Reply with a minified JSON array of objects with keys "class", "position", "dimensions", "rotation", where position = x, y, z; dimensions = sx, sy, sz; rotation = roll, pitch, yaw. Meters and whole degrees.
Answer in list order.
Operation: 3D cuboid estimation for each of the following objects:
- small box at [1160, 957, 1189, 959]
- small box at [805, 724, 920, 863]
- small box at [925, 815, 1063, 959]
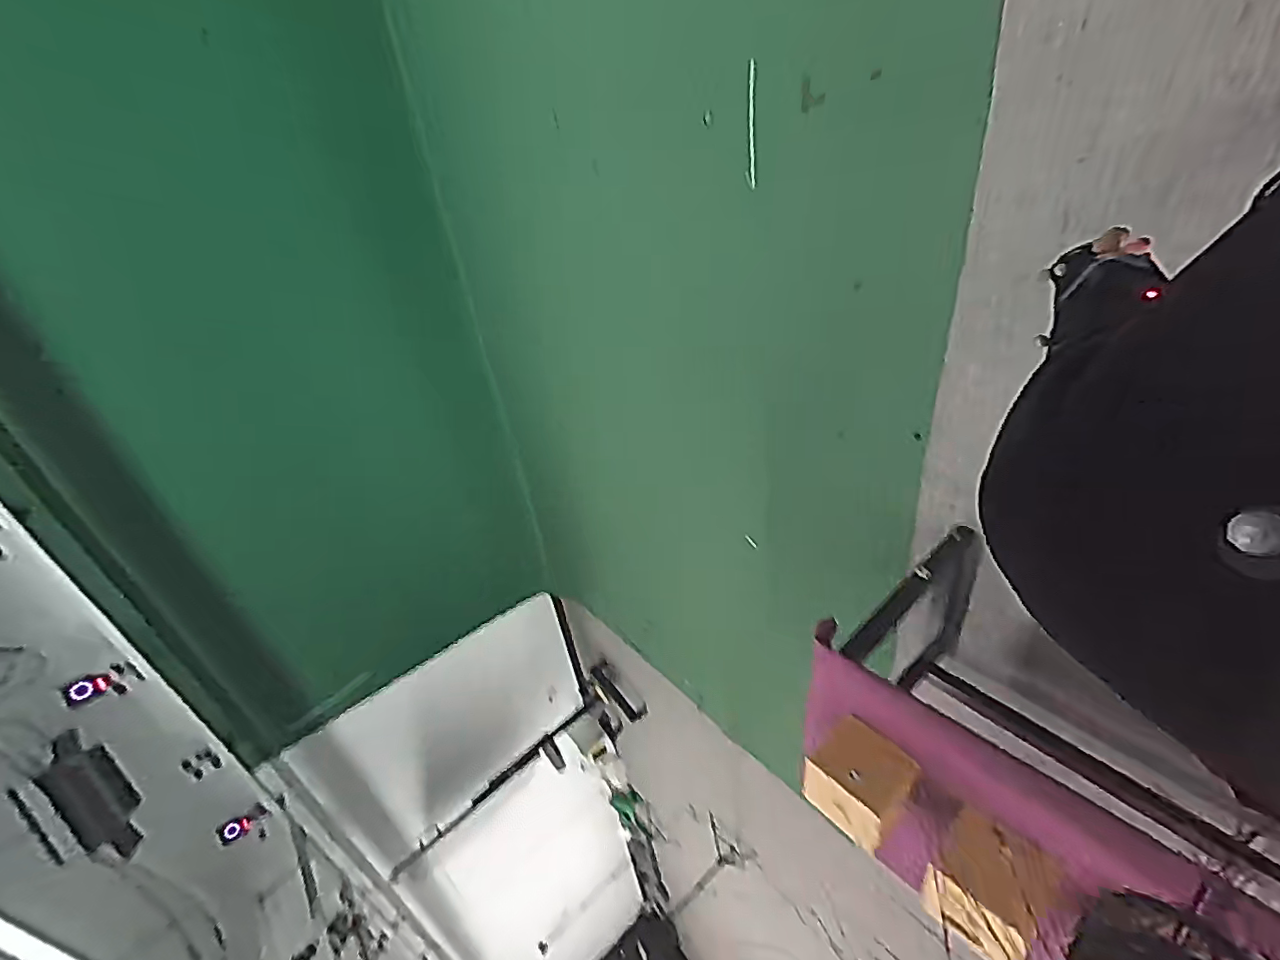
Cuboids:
[{"class":"small box","position":[0.863,0.893,0.836],"dimensions":[0.168,0.176,0.179],"rotation":[37,143,33]},{"class":"small box","position":[0.496,0.691,1.209],"dimensions":[0.179,0.176,0.168],"rotation":[29,138,42]},{"class":"small box","position":[0.675,0.801,1.037],"dimensions":[0.168,0.176,0.179],"rotation":[23,133,46]}]
